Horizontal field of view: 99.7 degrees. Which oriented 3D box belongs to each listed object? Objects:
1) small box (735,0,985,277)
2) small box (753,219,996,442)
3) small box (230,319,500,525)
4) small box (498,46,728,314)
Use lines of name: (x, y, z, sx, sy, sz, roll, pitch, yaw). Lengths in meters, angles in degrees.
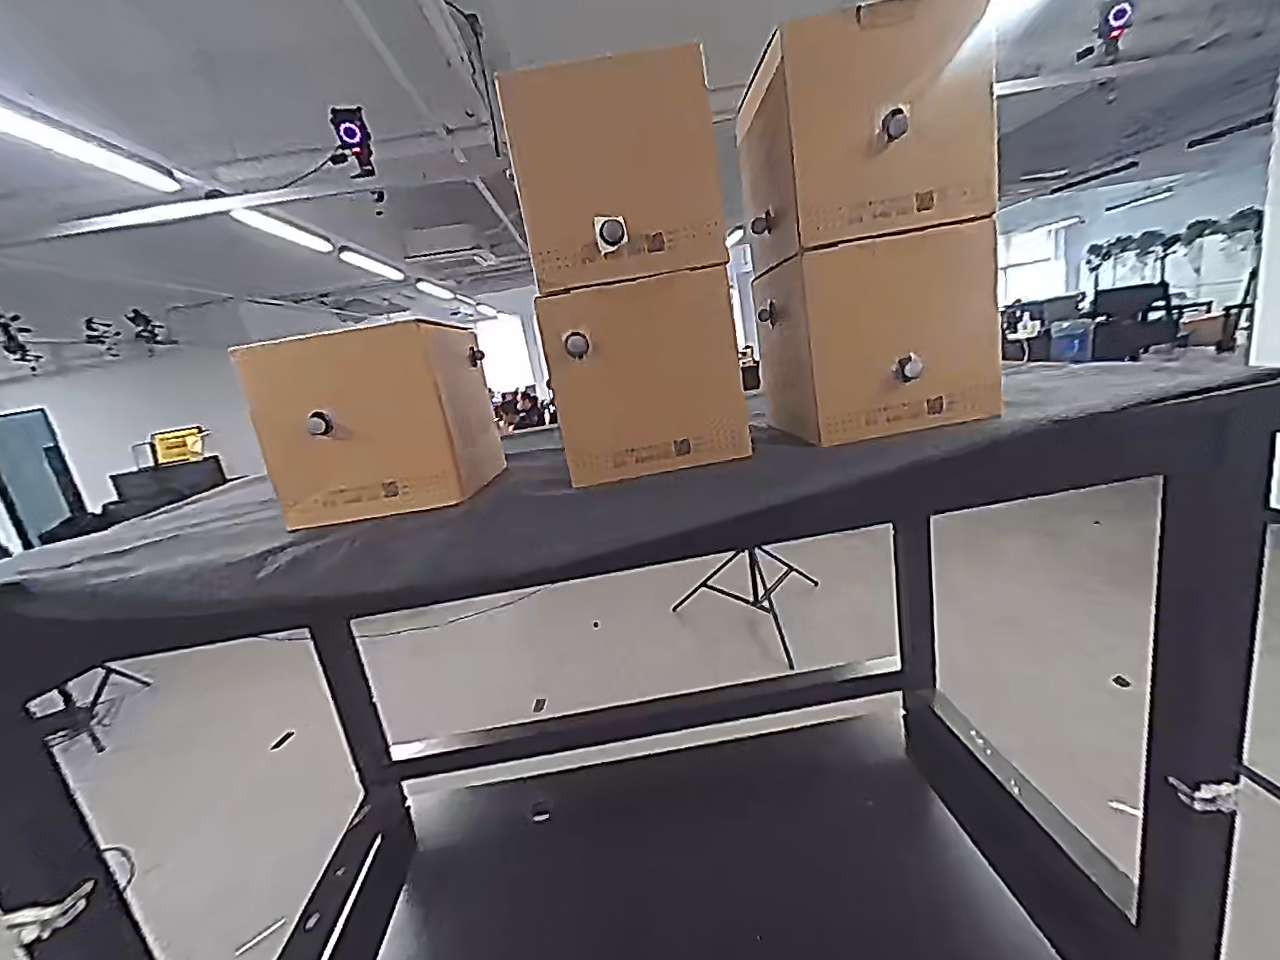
small box: (0.194, -0.297, 0.507, 0.168, 0.176, 0.179, -9, 14, 1)
small box: (0.220, -0.138, 0.542, 0.168, 0.176, 0.179, -11, 13, 0)
small box: (-0.254, -0.058, 0.551, 0.168, 0.176, 0.179, -9, 12, 1)
small box: (-0.022, -0.259, 0.515, 0.168, 0.176, 0.179, -11, 13, -2)
